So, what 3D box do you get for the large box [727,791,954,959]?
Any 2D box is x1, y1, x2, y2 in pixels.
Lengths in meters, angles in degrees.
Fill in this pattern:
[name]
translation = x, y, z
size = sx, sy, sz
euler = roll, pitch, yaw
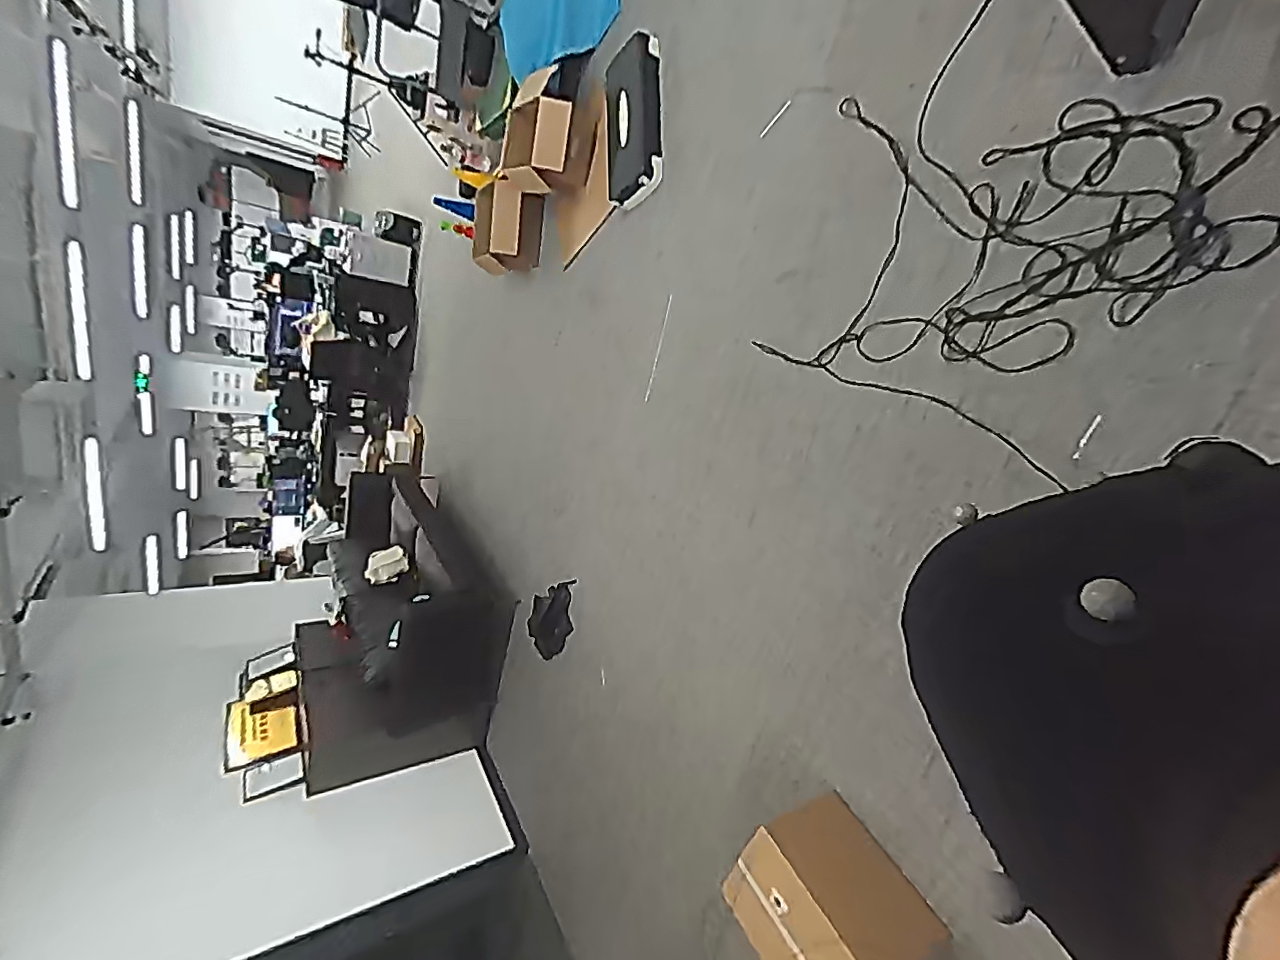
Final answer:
[large box]
translation = 0.511, 1.138, 1.431
size = 0.408, 0.320, 0.320
euler = 47, 126, 46
